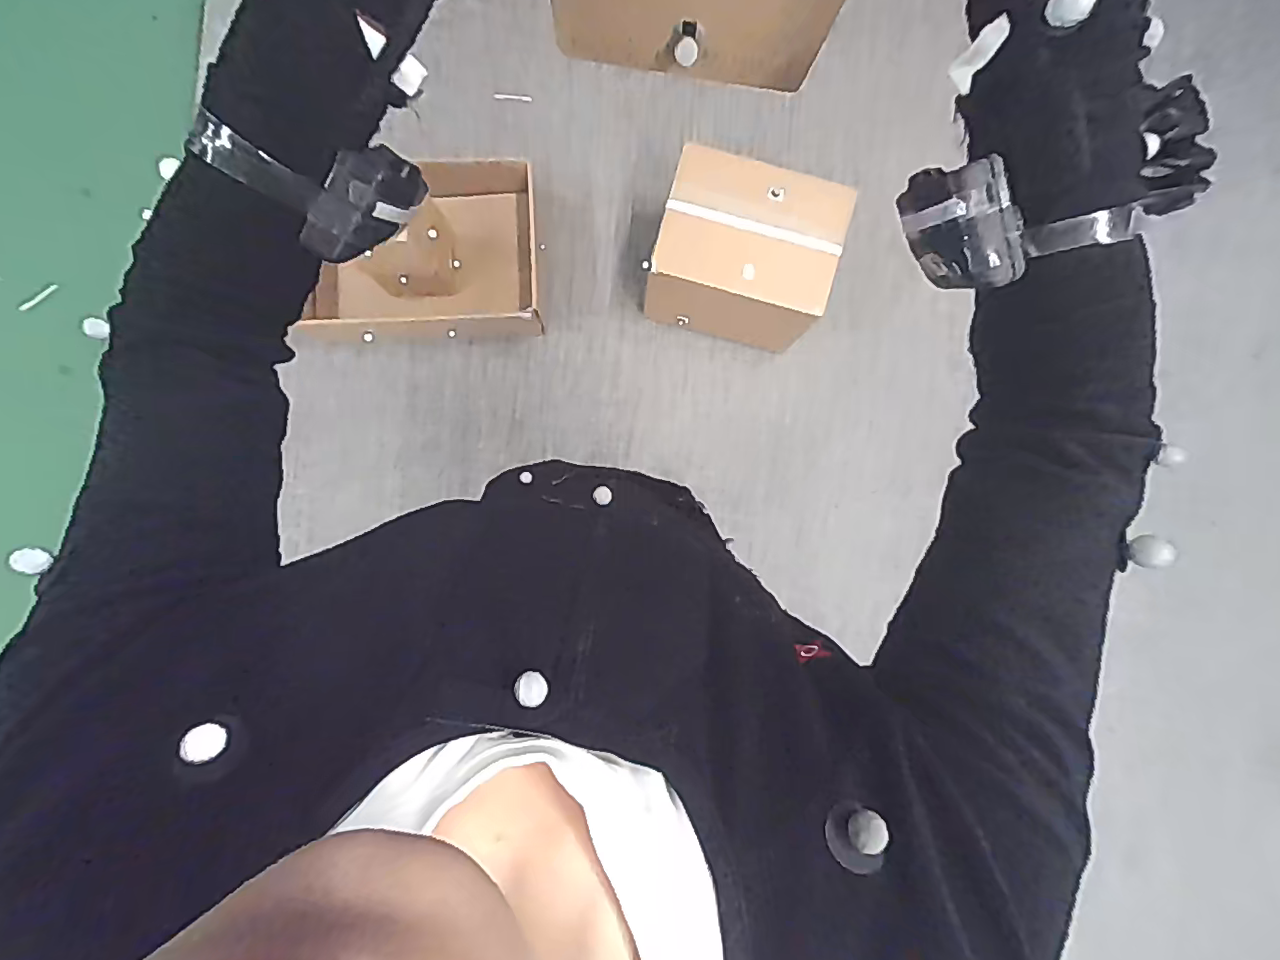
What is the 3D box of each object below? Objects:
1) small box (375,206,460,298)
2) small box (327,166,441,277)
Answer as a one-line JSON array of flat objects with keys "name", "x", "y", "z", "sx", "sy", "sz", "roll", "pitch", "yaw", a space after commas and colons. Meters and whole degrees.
[{"name": "small box", "x": -0.570, "y": -0.574, "z": 1.375, "sx": 0.179, "sy": 0.176, "sz": 0.168, "roll": -1, "pitch": 88, "yaw": -3}, {"name": "small box", "x": -0.564, "y": -0.570, "z": 1.210, "sx": 0.179, "sy": 0.176, "sz": 0.168, "roll": 2, "pitch": 87, "yaw": -3}]
